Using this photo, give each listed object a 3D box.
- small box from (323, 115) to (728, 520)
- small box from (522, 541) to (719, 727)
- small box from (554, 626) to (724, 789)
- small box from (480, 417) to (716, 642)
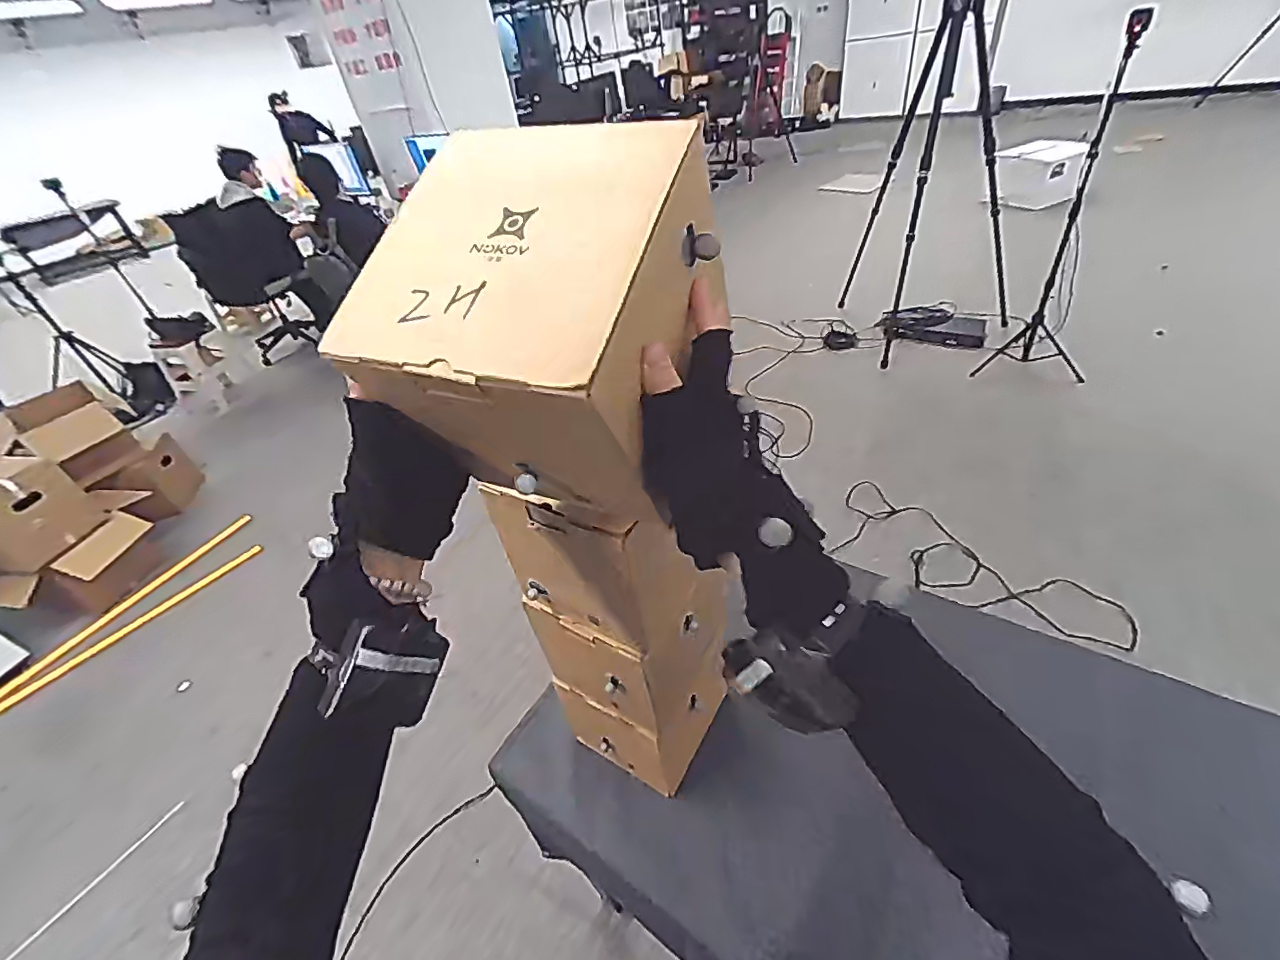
[{"bbox_3d":[-0.045,-0.095,0.350,0.168,0.176,0.179,12,71,21],"label":"small box"},{"bbox_3d":[-0.009,0.162,0.660,0.168,0.176,0.179,19,47,29],"label":"small box"},{"bbox_3d":[0.009,0.287,0.763,0.168,0.176,0.179,17,47,29],"label":"small box"},{"bbox_3d":[-0.026,0.033,0.560,0.168,0.176,0.179,18,47,28],"label":"small box"}]
